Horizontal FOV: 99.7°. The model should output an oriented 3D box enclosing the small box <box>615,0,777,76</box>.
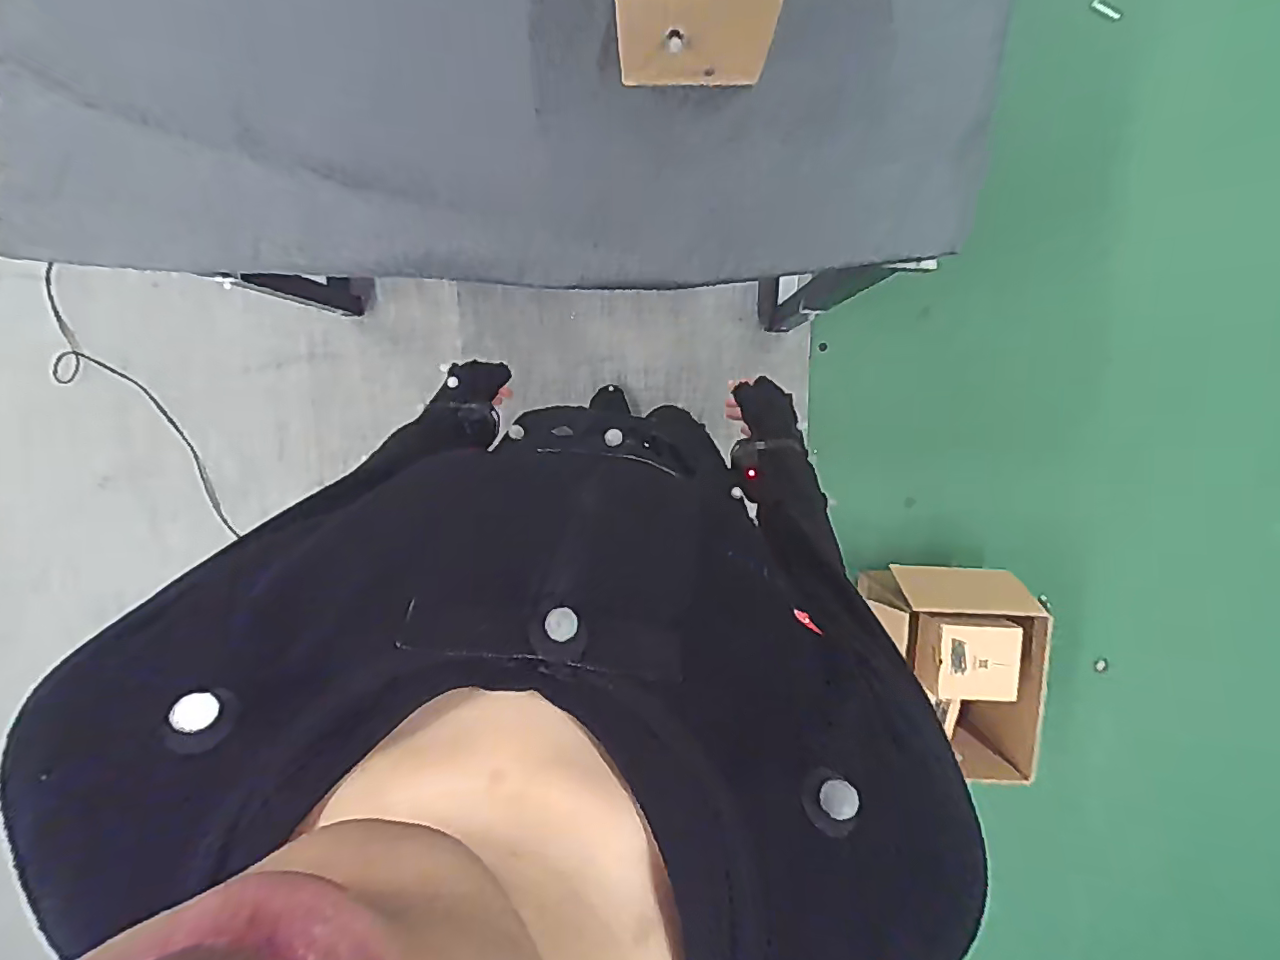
[{"bbox_3d":[0.061,-0.561,0.566,0.168,0.176,0.179,1,98,2],"label":"small box"}]
